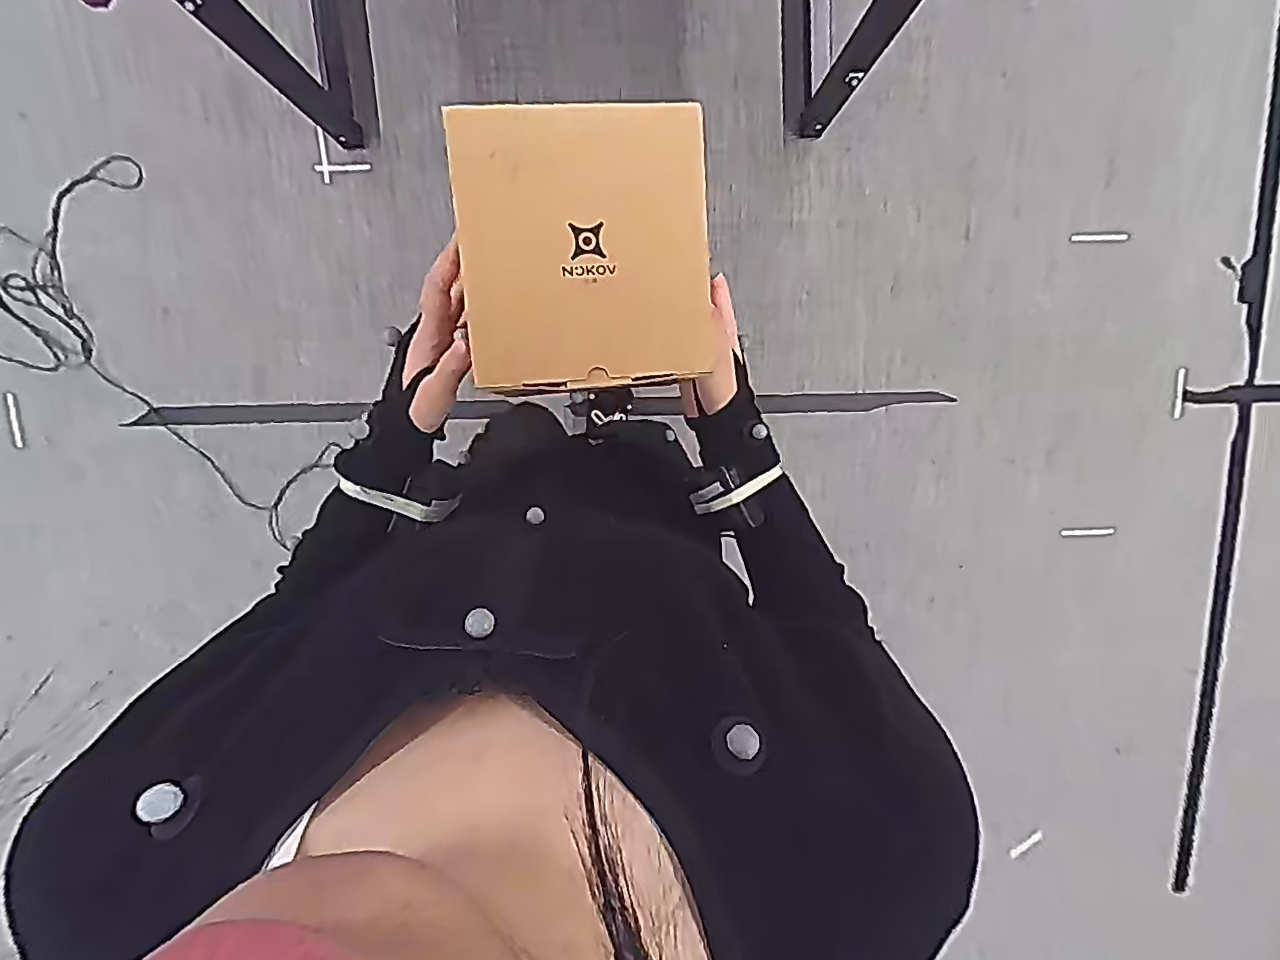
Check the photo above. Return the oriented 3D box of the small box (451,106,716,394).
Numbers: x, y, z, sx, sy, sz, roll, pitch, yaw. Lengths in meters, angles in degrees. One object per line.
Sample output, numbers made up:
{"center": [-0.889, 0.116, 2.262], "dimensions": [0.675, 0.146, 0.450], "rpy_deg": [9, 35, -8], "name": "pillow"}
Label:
{"center": [-0.045, -0.164, 0.437], "dimensions": [0.168, 0.176, 0.179], "rpy_deg": [-6, 99, -7], "name": "small box"}
